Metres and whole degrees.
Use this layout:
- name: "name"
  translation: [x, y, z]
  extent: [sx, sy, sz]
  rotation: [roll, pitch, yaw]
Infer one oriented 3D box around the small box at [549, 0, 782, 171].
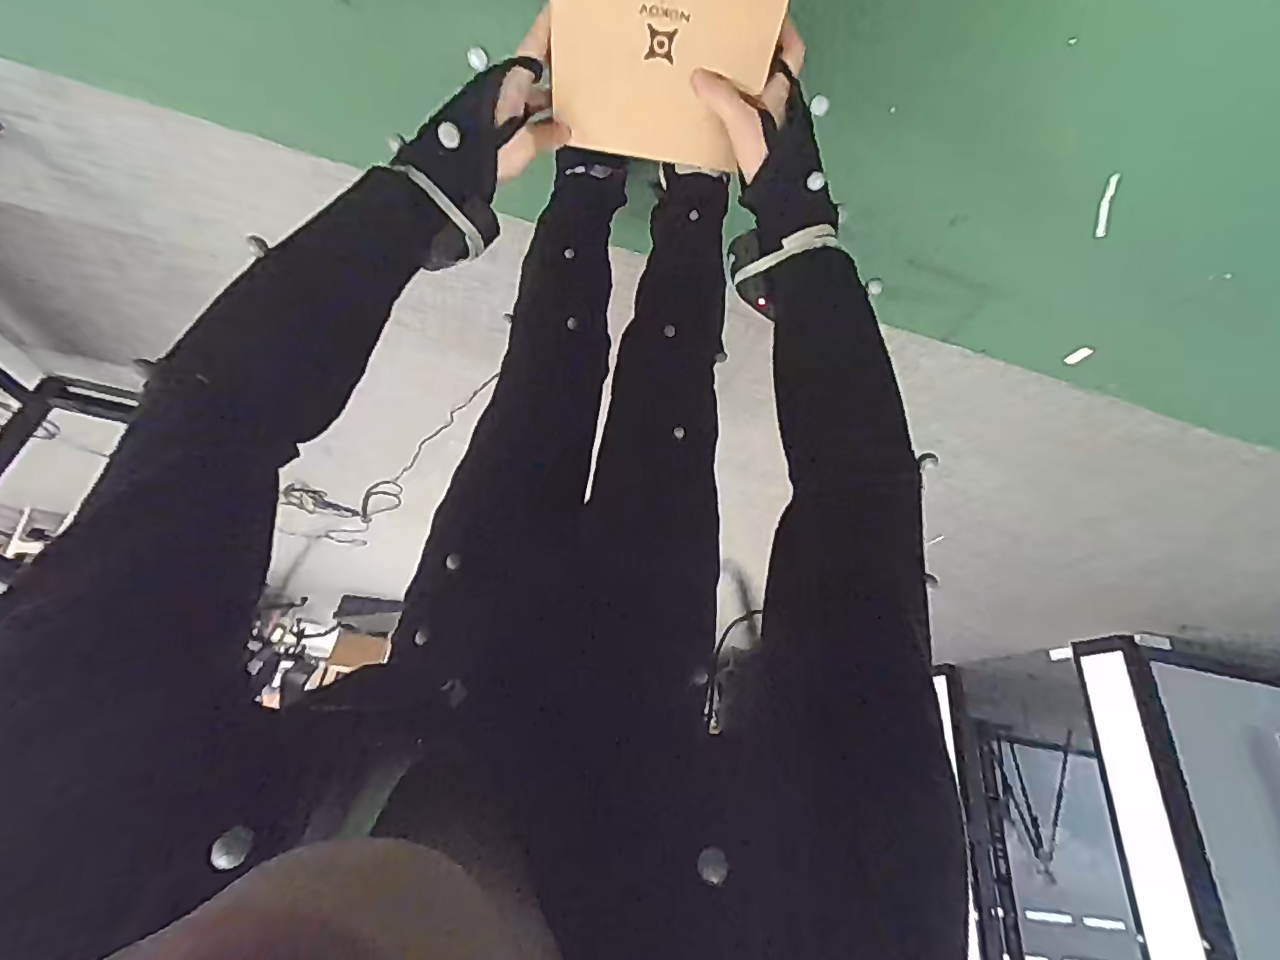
- name: "small box"
  translation: [0.023, -0.395, 0.440]
  extent: [0.168, 0.176, 0.179]
  rotation: [8, 149, -3]
